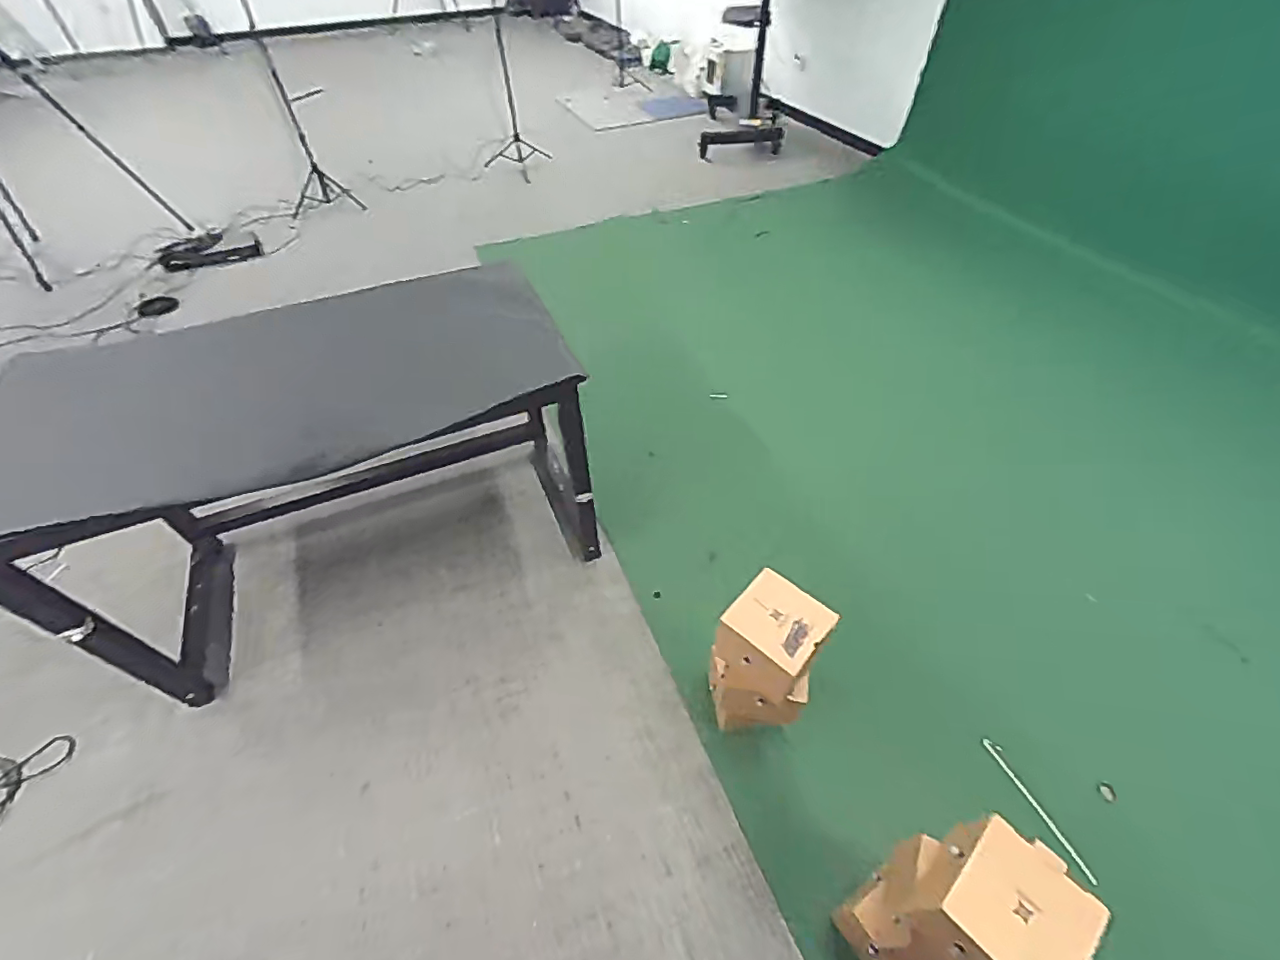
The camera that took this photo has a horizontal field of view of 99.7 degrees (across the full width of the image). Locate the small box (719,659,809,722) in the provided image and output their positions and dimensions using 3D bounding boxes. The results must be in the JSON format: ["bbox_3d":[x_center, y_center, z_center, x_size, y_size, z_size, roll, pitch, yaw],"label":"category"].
[{"bbox_3d":[0.282,0.433,1.239,0.179,0.176,0.168,10,52,9],"label":"small box"}]

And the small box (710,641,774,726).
[{"bbox_3d":[0.279,0.515,1.382,0.179,0.176,0.168,-5,50,-4],"label":"small box"}]

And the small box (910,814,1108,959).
[{"bbox_3d":[0.542,0.657,0.821,0.179,0.176,0.168,-35,57,-26],"label":"small box"}]

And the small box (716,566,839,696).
[{"bbox_3d":[0.276,0.320,1.119,0.179,0.176,0.168,35,59,28],"label":"small box"}]

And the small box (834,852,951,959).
[{"bbox_3d":[0.514,0.877,1.064,0.179,0.176,0.168,-25,54,-21],"label":"small box"}]
